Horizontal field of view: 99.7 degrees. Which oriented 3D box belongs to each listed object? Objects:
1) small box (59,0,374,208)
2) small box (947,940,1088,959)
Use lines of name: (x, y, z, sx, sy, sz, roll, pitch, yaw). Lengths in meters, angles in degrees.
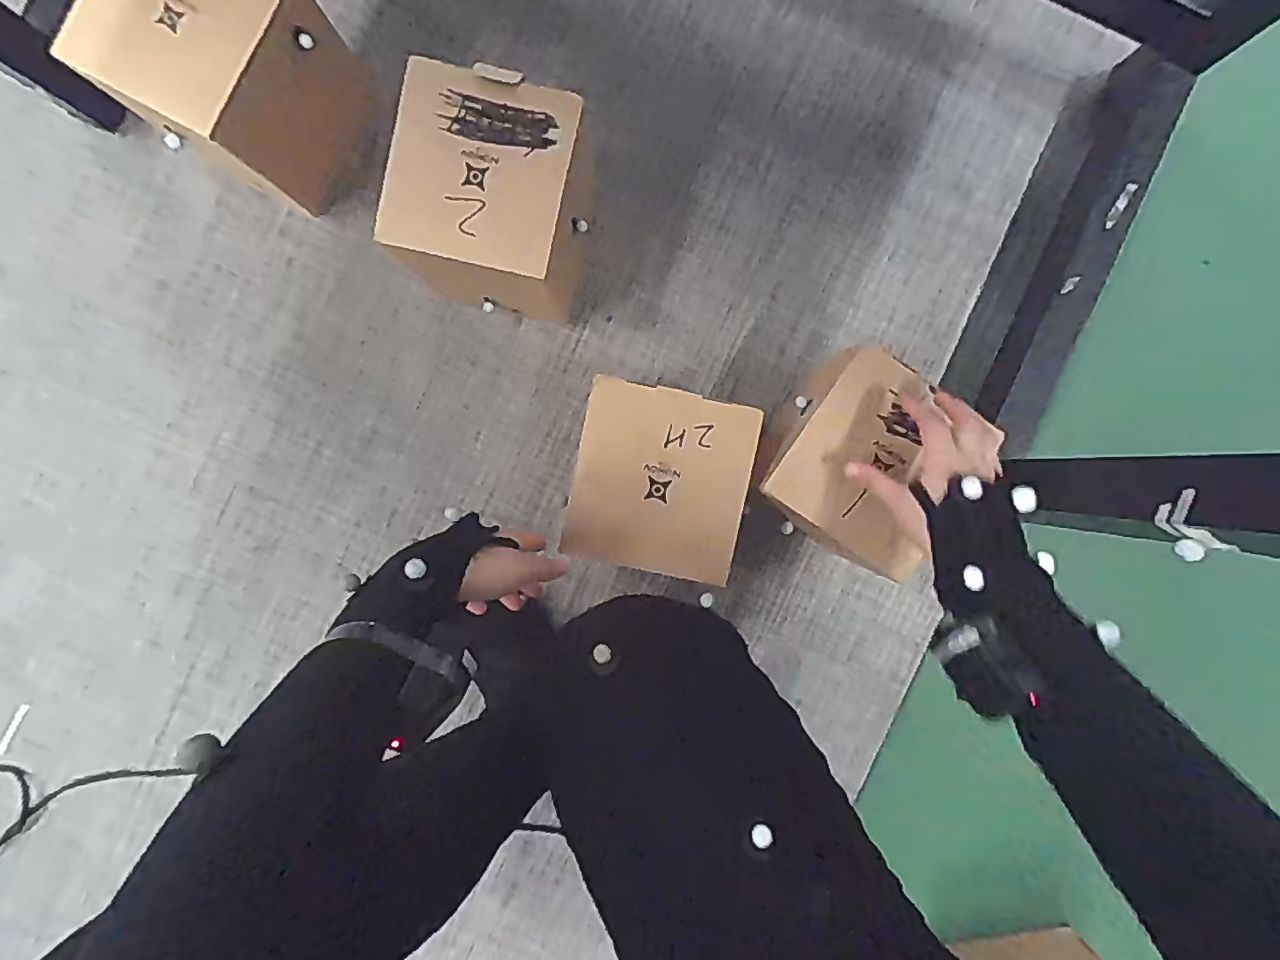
small box: (-0.421, -0.431, 0.573, 0.168, 0.176, 0.179, 29, 91, -1)
small box: (0.471, 0.665, 0.604, 0.179, 0.176, 0.168, -8, 91, -1)
